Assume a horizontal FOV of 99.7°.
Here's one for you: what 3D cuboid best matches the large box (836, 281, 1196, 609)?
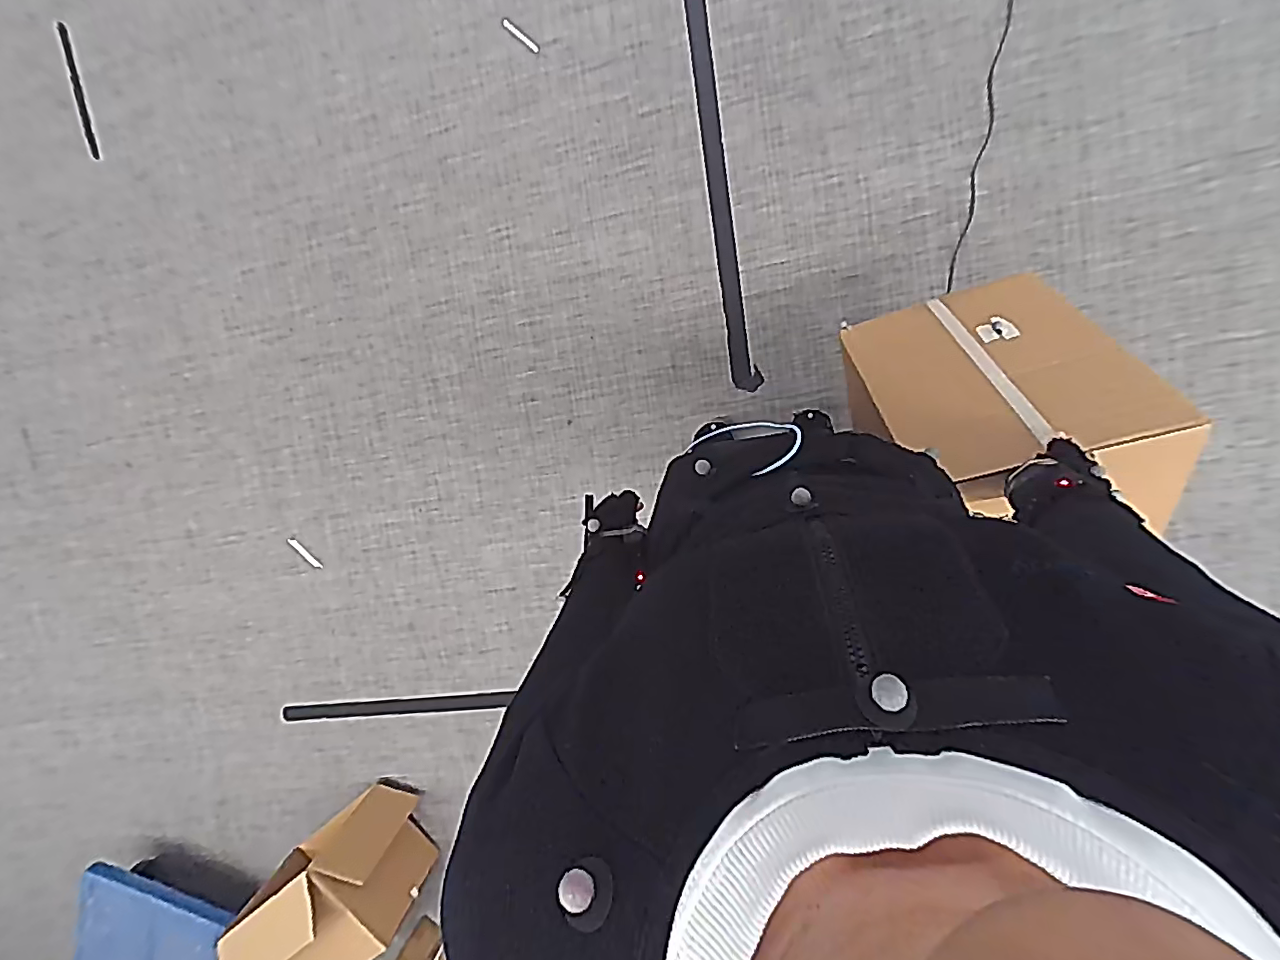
[{"bbox_3d":[0.556,-0.060,0.899,0.320,0.408,0.320,-15,132,13],"label":"large box"}]
